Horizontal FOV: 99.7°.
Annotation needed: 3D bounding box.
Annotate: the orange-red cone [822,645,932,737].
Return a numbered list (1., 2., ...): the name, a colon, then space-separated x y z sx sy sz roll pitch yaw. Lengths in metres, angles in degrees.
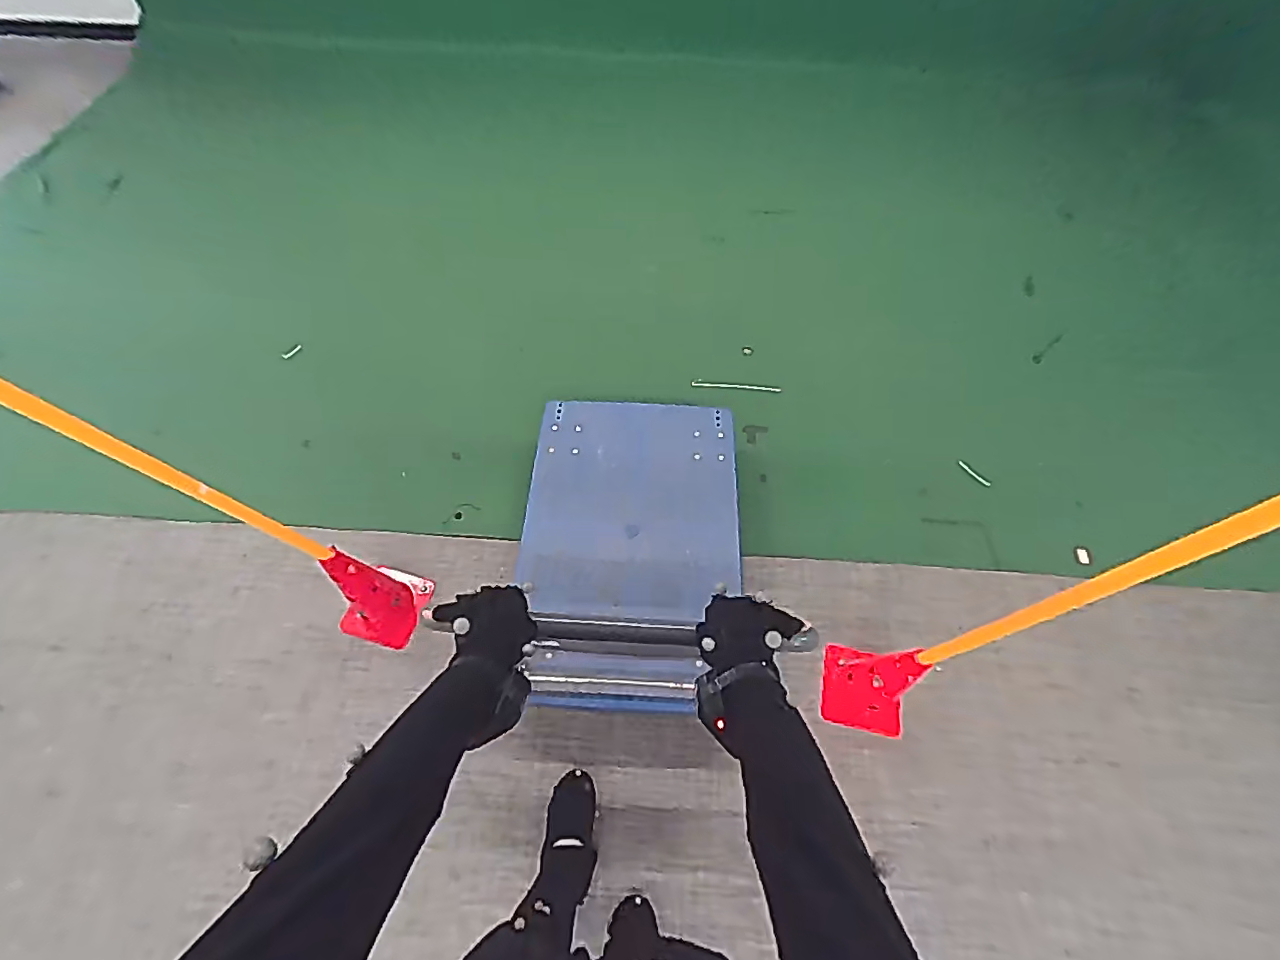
1. orange-red cone: 0.578 0.455 1.254 0.198 0.360 0.199 13 60 7
